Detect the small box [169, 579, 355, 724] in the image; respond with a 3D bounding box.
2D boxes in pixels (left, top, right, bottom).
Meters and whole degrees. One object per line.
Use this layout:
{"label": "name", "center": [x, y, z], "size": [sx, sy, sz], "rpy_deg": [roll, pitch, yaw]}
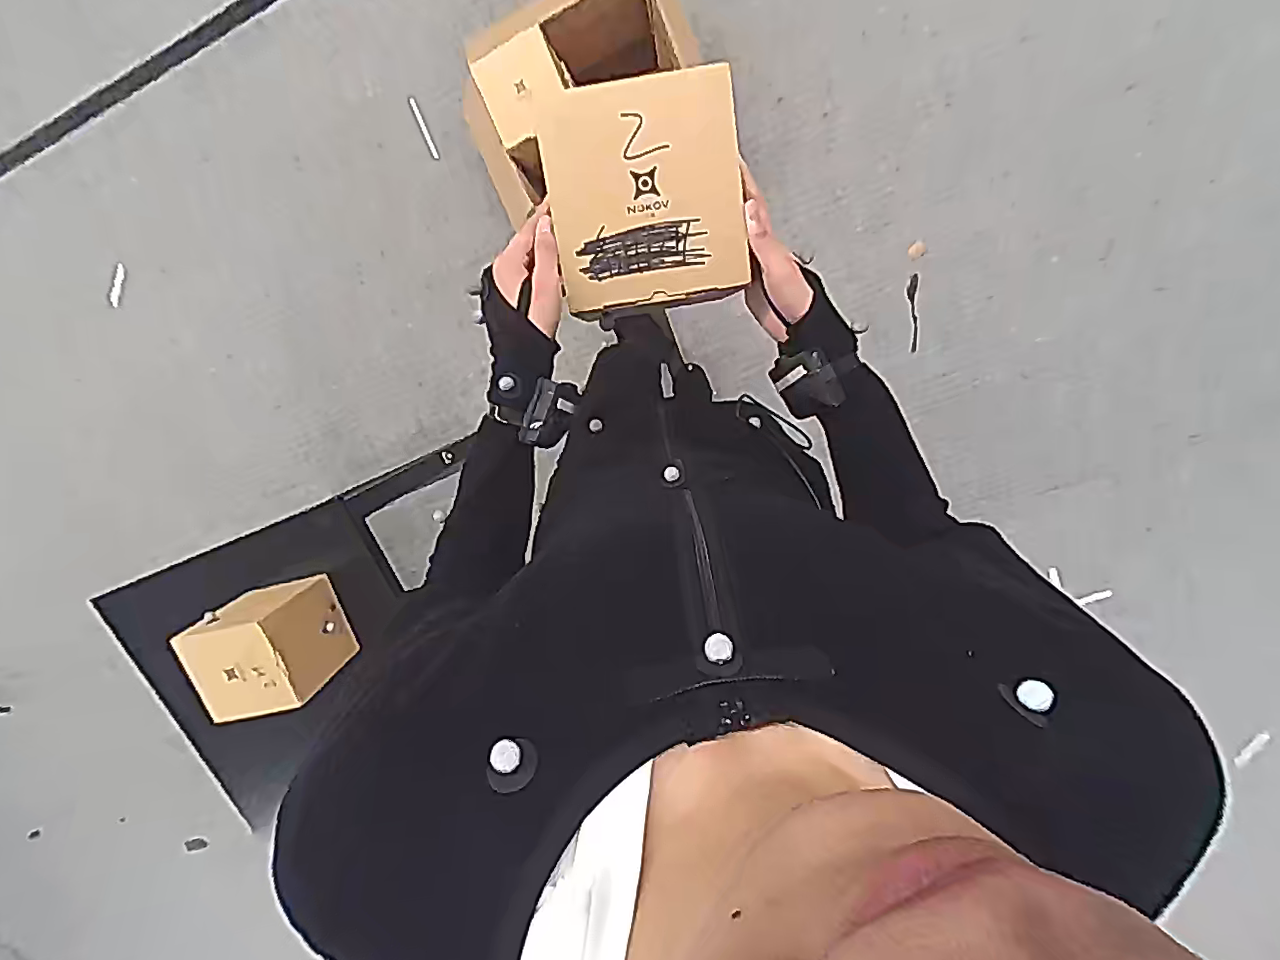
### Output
{"label": "small box", "center": [-0.653, 0.295, 0.956], "size": [0.179, 0.176, 0.168], "rpy_deg": [-13, 105, 9]}
